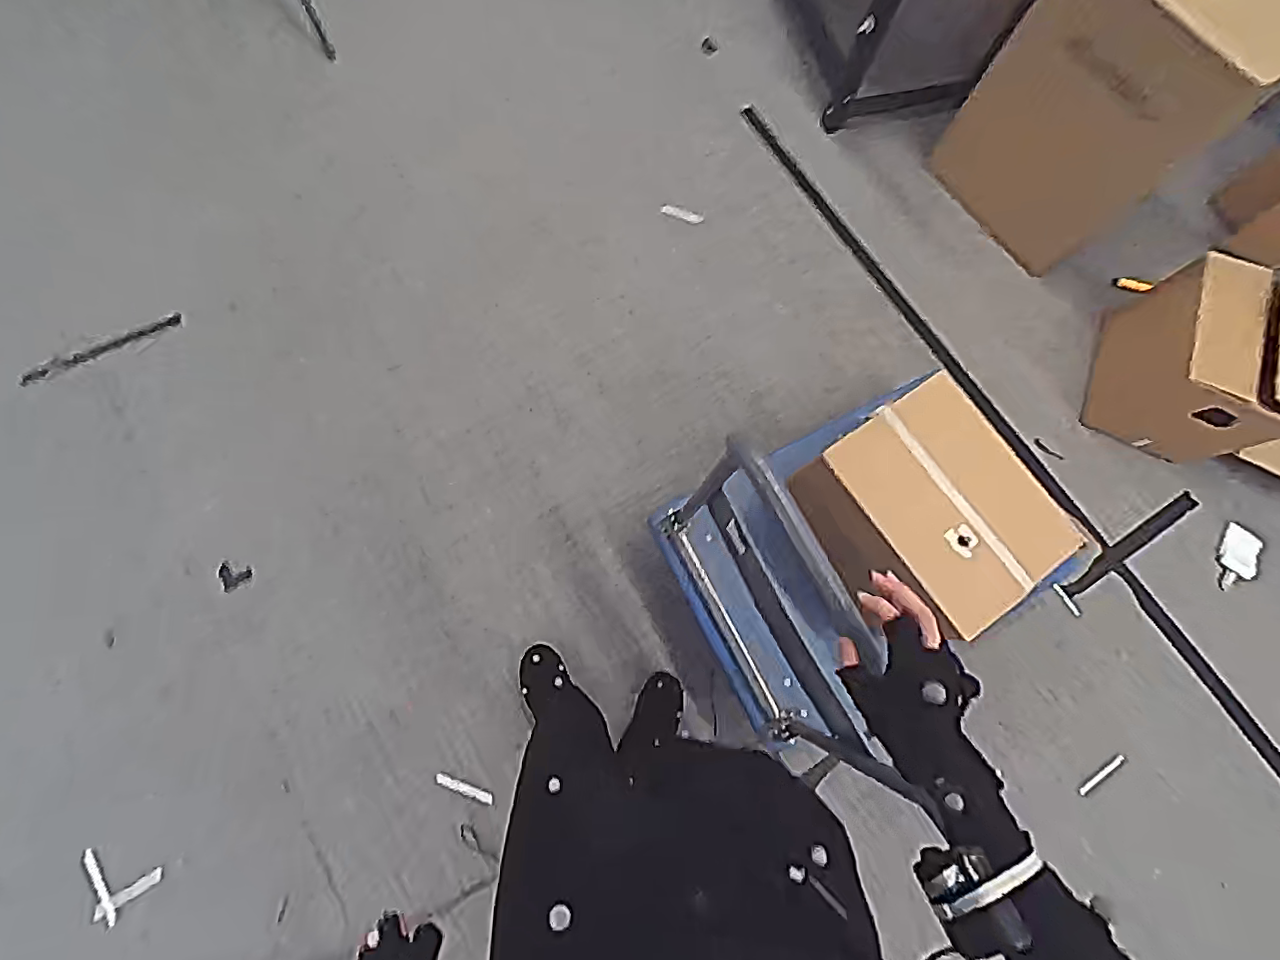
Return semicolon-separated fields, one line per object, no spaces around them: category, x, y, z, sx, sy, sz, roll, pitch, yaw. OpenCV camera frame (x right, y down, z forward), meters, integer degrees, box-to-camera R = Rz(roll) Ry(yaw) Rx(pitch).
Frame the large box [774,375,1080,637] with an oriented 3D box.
large box;0.556;0.068;1.131;0.320;0.320;0.408;-33;81;-11
